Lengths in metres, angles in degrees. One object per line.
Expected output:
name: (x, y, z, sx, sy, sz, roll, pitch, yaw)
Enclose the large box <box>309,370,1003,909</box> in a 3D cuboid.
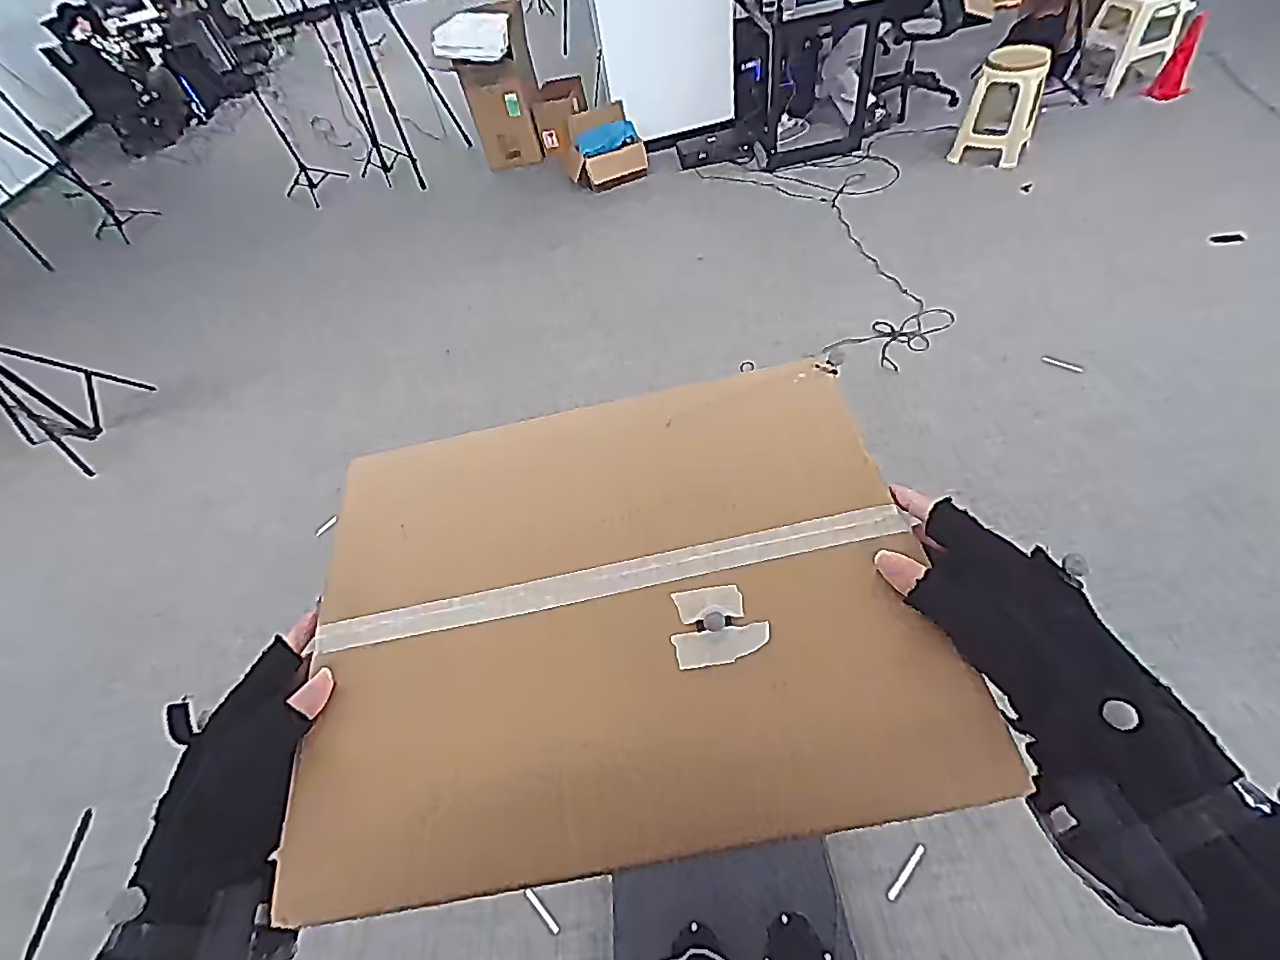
large box: (0.002, 0.152, 0.502, 0.408, 0.320, 0.320, -12, 57, 2)
